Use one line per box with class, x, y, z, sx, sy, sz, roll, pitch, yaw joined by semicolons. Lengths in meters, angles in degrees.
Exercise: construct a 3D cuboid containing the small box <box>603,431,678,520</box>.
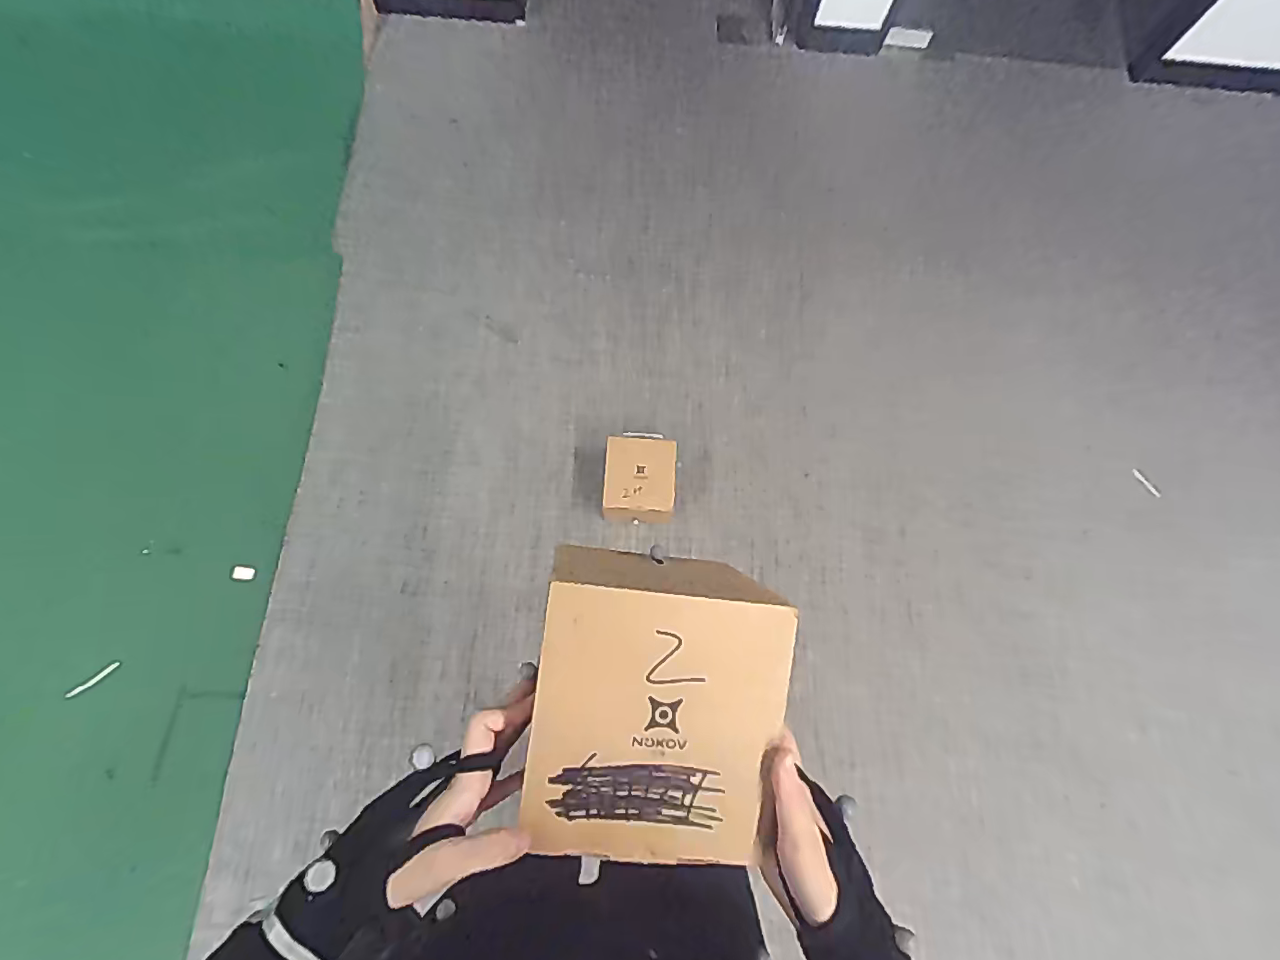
small box;-0.002;-0.006;1.332;0.168;0.176;0.179;4;77;-2
